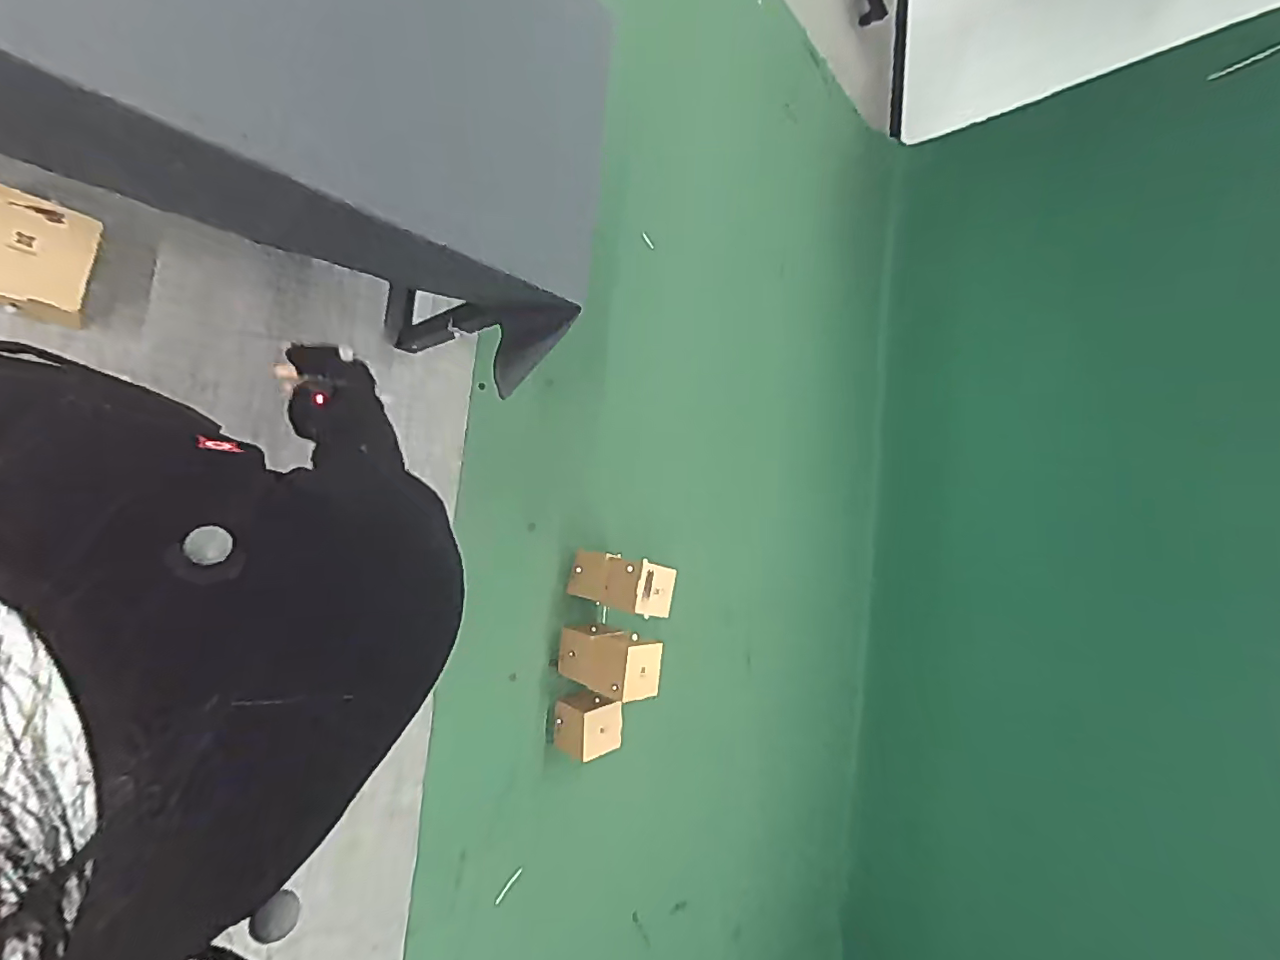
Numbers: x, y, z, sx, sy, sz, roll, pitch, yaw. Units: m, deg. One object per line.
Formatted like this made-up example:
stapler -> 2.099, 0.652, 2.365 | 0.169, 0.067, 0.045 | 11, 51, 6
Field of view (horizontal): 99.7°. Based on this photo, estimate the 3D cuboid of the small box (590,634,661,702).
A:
small box -> -0.051, 0.617, 1.803 | 0.168, 0.176, 0.179 | 10, 84, -46

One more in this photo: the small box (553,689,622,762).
small box -> -0.185, 0.854, 1.904 | 0.179, 0.176, 0.168 | 2, 89, -46

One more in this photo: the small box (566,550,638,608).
small box -> -0.137, 0.353, 1.945 | 0.179, 0.176, 0.168 | 24, 73, -42

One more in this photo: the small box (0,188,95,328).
small box -> -1.082, -0.383, 0.941 | 0.168, 0.176, 0.179 | 15, 80, -45

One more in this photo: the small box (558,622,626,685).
small box -> -0.172, 0.607, 1.913 | 0.179, 0.176, 0.168 | 6, 86, -47
